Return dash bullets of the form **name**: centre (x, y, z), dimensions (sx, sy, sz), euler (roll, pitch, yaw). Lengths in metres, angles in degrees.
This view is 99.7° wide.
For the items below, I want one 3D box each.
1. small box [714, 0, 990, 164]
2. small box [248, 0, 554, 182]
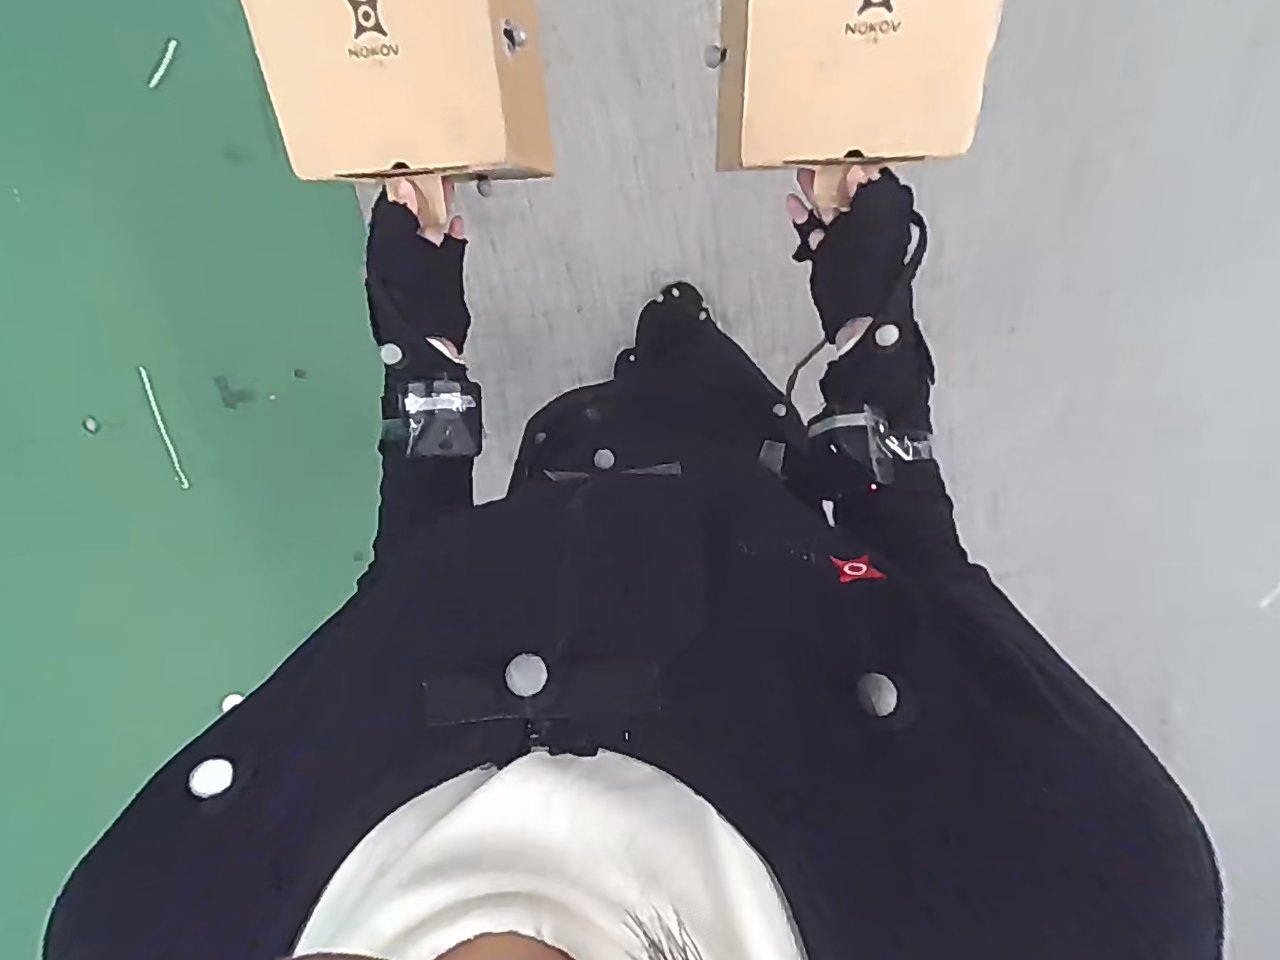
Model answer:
- **small box**: centre (0.152, -0.354, 0.429), dimensions (0.168, 0.176, 0.179), euler (-1, 119, 1)
- **small box**: centre (-0.173, -0.344, 0.433), dimensions (0.168, 0.176, 0.179), euler (-2, 116, 5)
